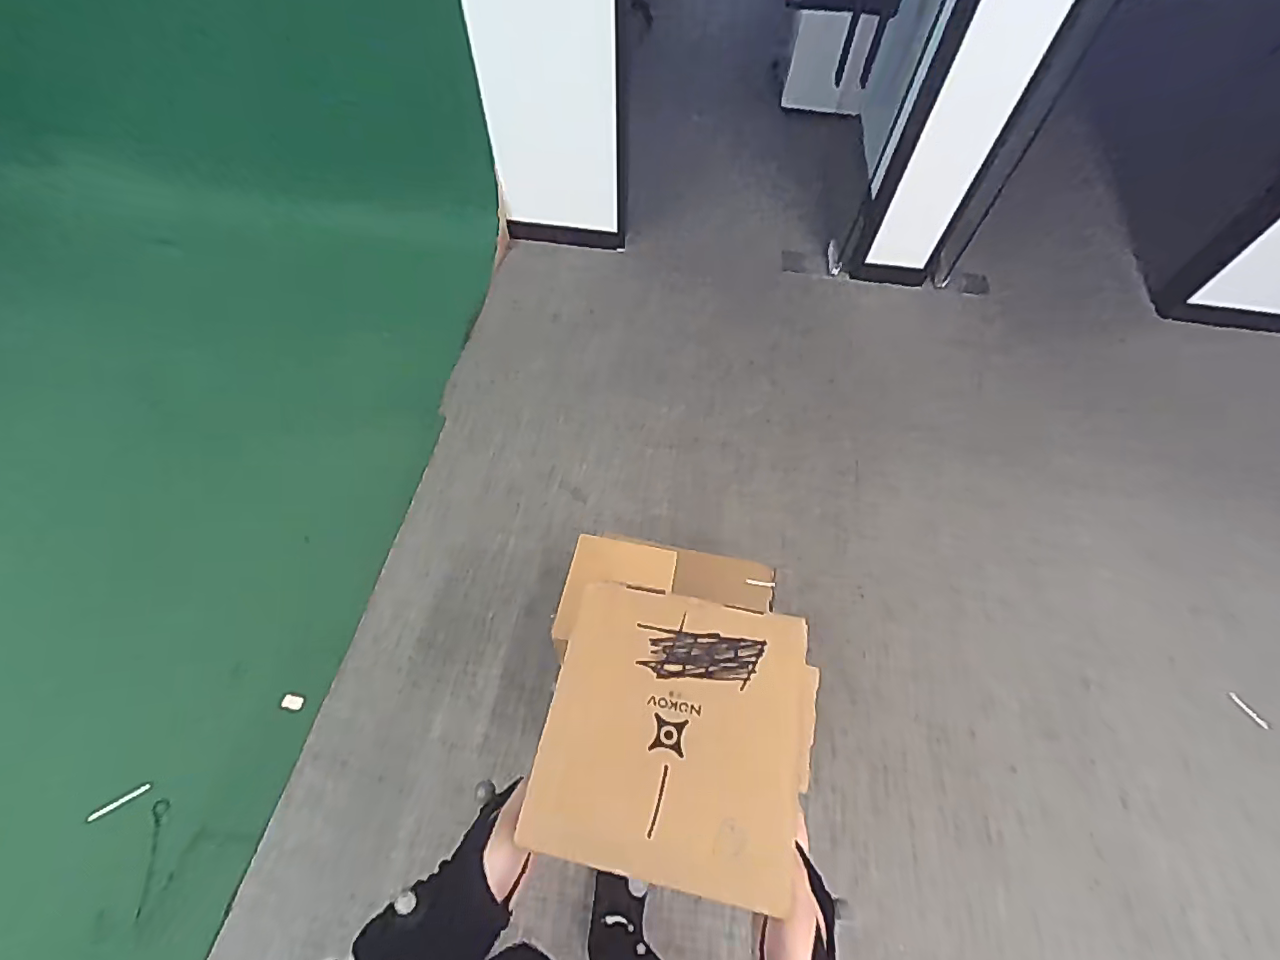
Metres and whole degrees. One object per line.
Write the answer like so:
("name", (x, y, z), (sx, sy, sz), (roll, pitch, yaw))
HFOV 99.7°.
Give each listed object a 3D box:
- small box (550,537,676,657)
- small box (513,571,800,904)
("small box", (-0.041, 0.222, 0.903), (0.168, 0.176, 0.179), (11, 58, 5))
("small box", (0.021, 0.197, 0.425), (0.168, 0.176, 0.179), (9, 58, 8))
